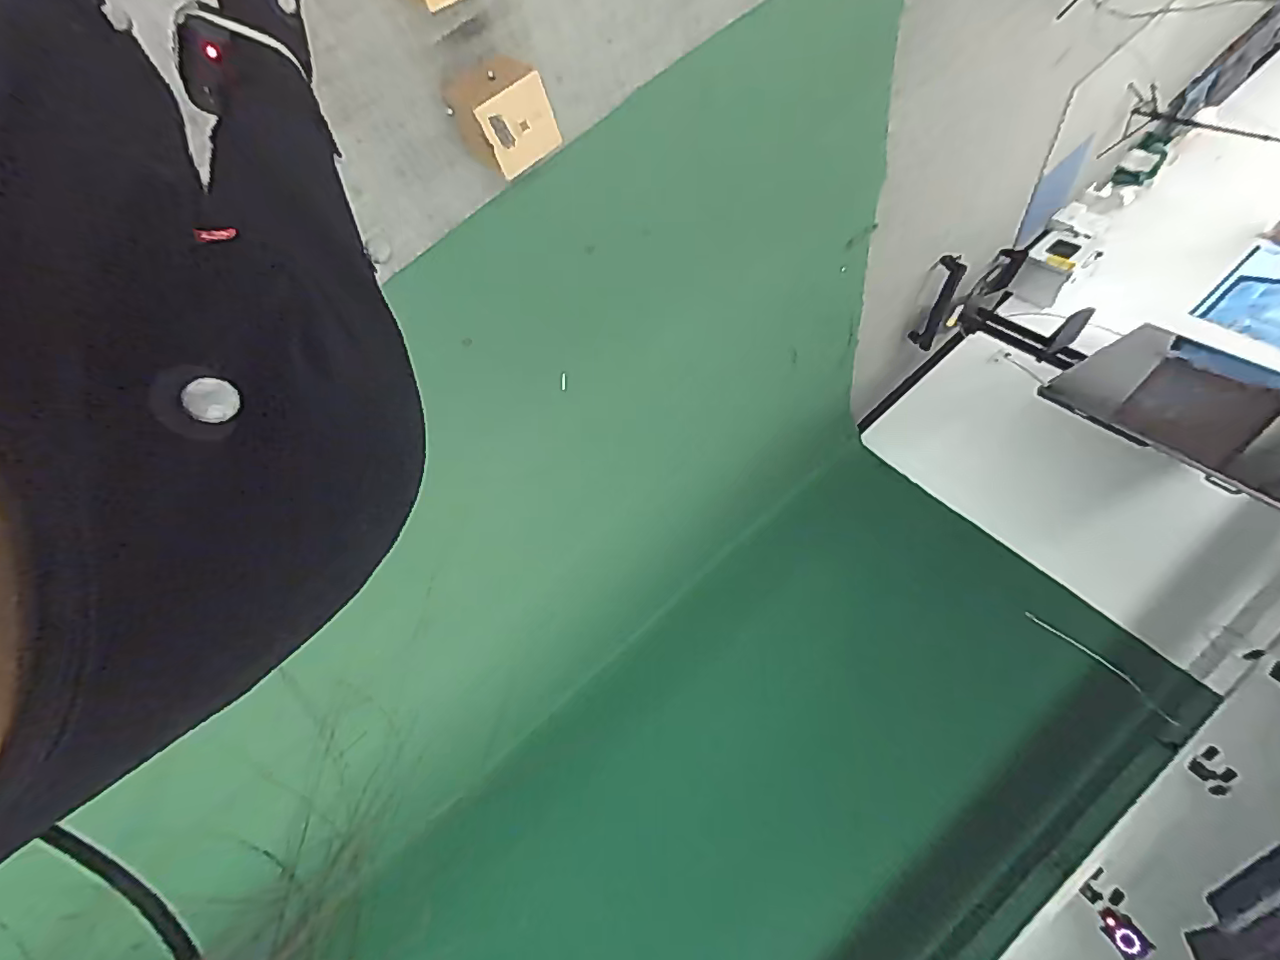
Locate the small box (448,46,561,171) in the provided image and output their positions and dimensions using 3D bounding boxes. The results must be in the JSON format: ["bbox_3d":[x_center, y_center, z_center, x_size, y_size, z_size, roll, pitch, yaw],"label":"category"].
[{"bbox_3d":[-0.322,-0.869,1.264,0.179,0.176,0.168,-40,150,-9],"label":"small box"}]
